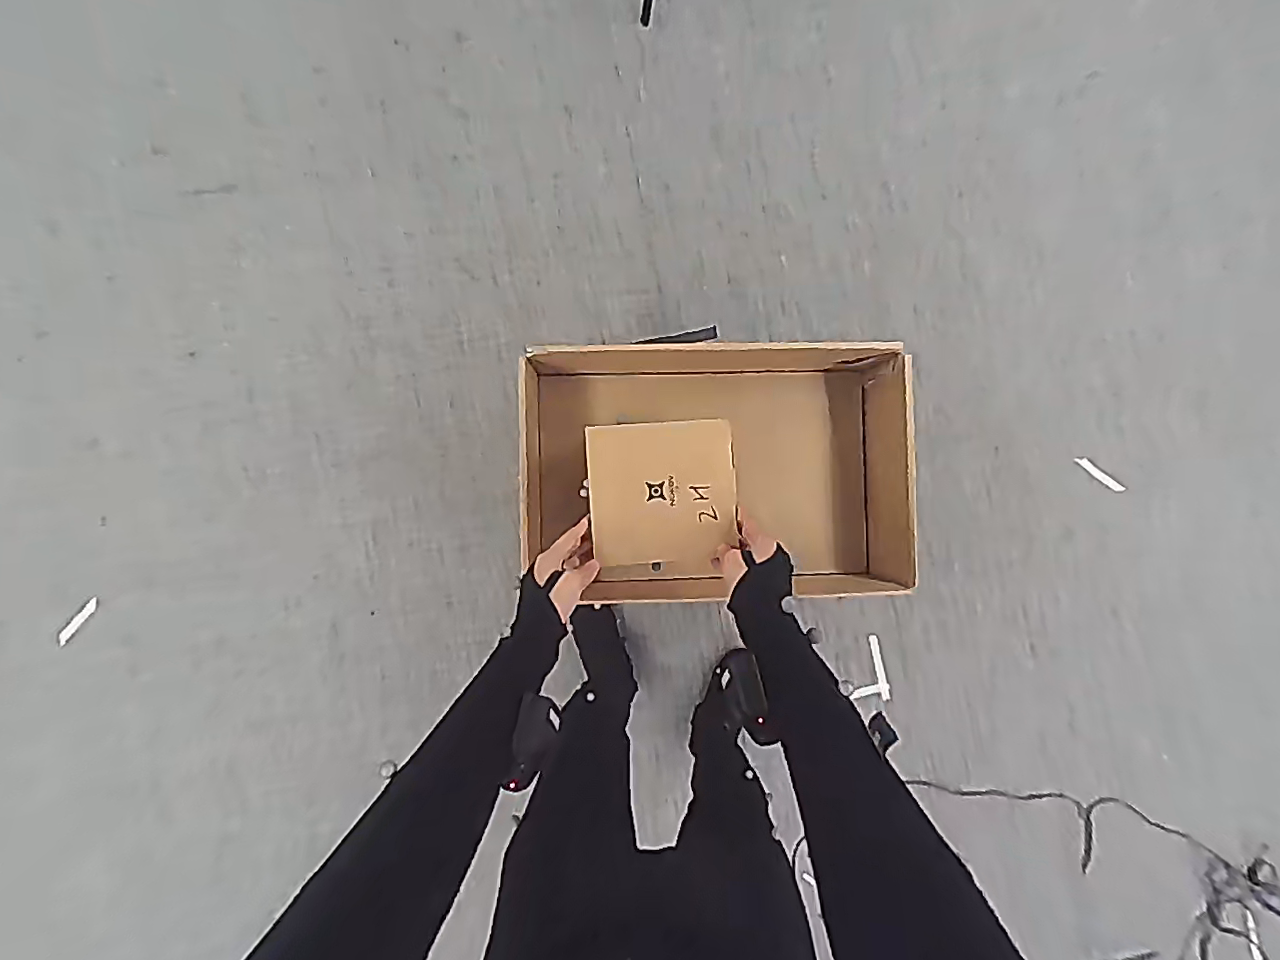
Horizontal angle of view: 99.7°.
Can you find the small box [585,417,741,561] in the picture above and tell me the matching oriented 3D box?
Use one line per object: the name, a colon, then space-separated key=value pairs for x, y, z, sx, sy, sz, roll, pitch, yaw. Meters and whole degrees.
small box: x=0.025 y=0.013 z=0.707 sx=0.179 sy=0.176 sz=0.168 roll=-3 pitch=89 yaw=-3
